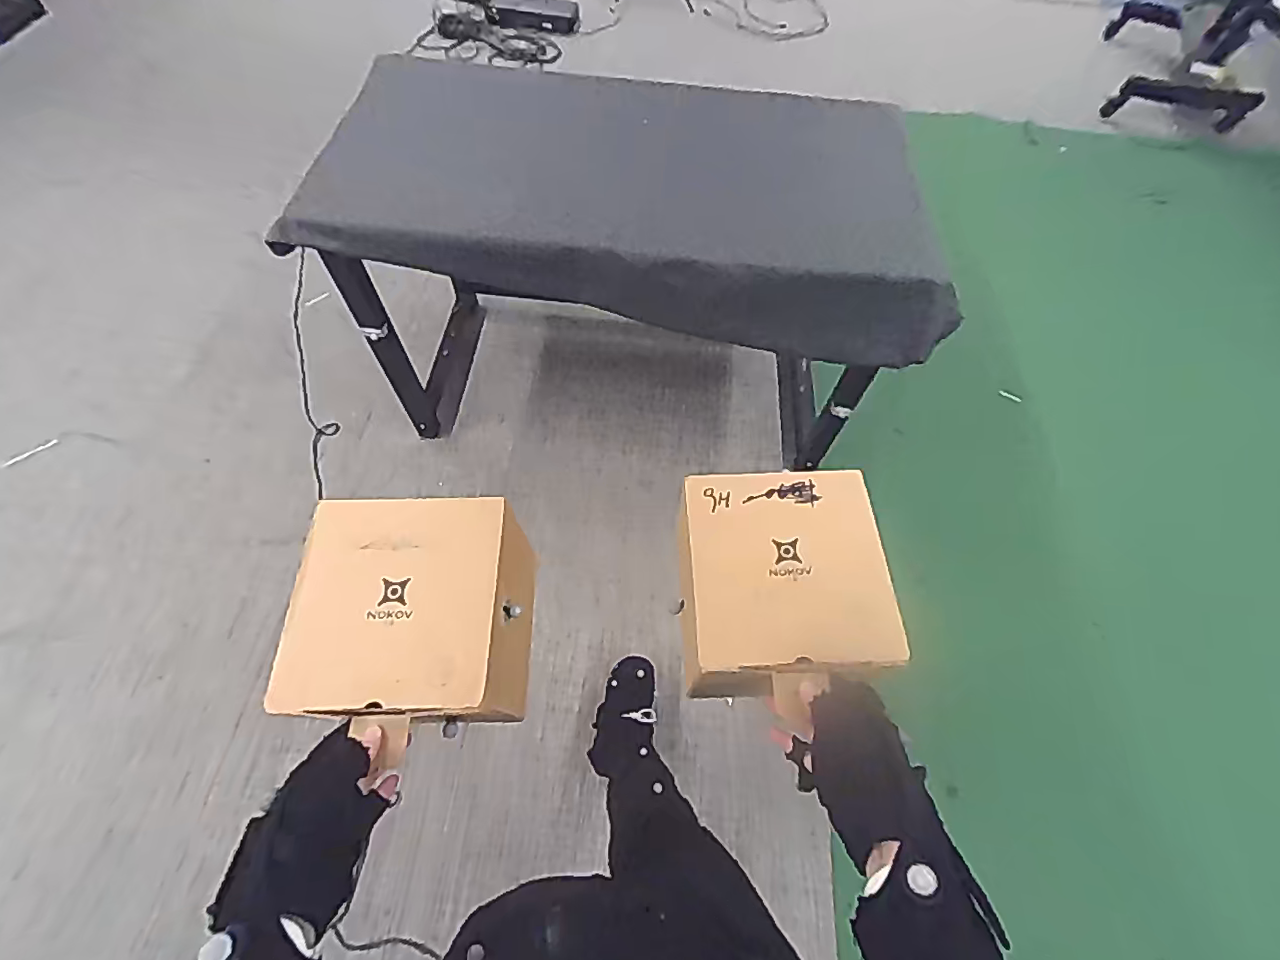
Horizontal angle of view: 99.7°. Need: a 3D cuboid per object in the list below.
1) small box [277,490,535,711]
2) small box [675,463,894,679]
[{"bbox_3d":[-0.198,0.124,0.520,0.168,0.176,0.179,-1,63,-2],"label":"small box"},{"bbox_3d":[0.124,0.100,0.542,0.168,0.176,0.179,-2,62,0],"label":"small box"}]
